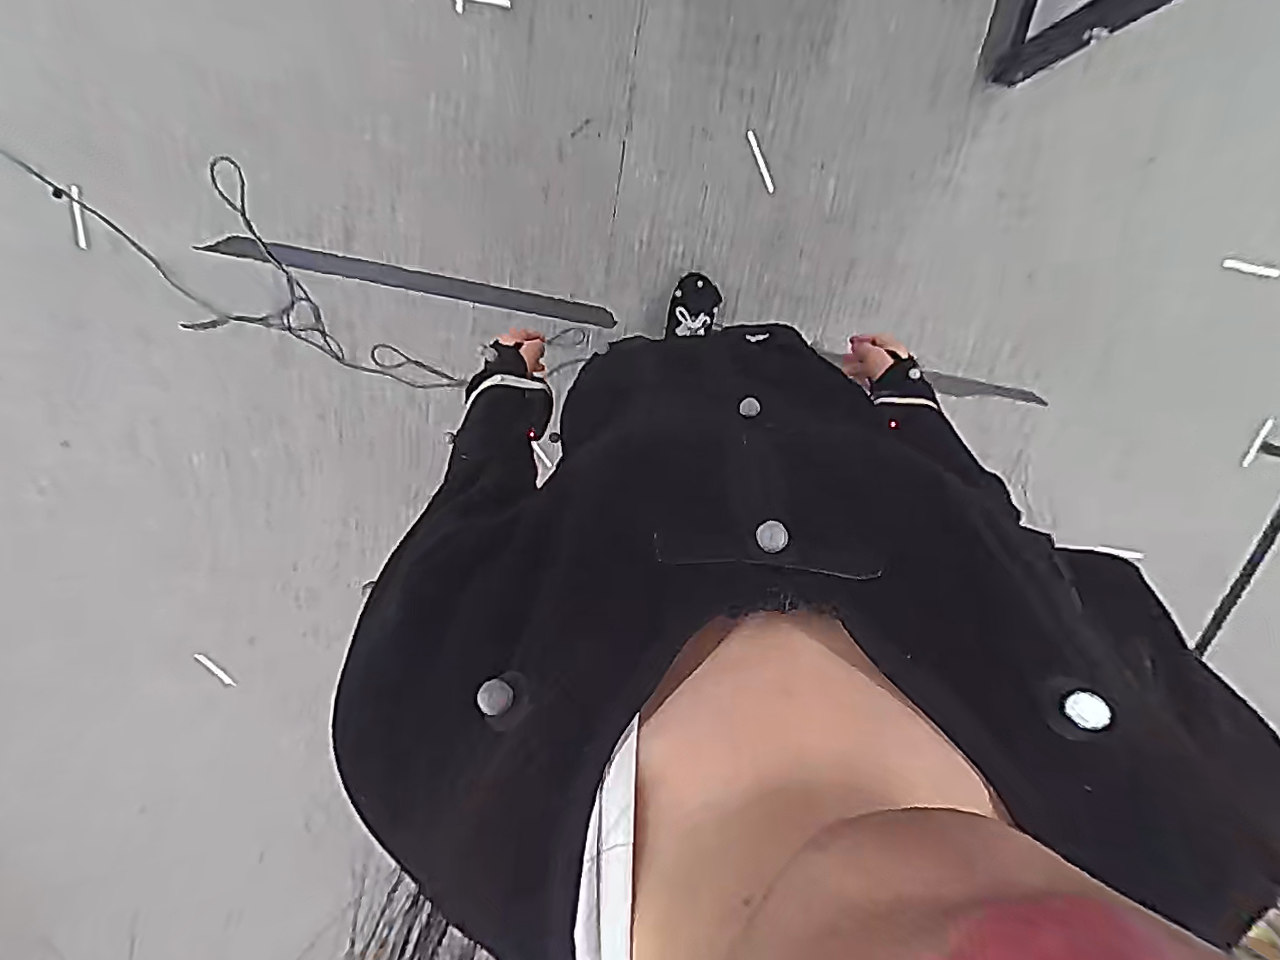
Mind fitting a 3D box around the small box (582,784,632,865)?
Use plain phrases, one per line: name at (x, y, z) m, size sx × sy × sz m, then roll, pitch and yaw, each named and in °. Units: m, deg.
small box at (-0.111, 1.186, 1.864) m, size 0.168 × 0.176 × 0.179 m, roll 0°, pitch 110°, yaw -2°
